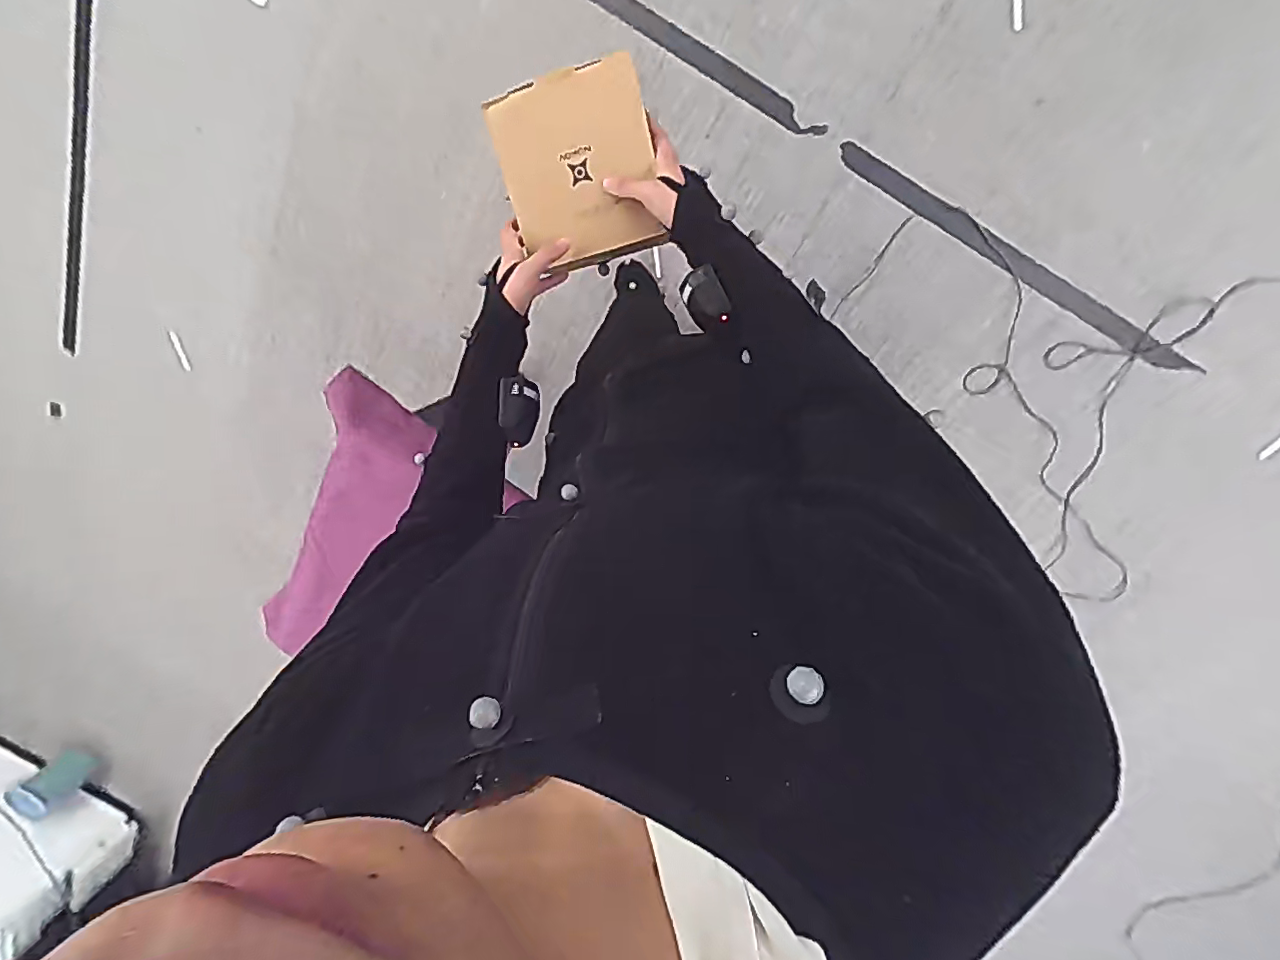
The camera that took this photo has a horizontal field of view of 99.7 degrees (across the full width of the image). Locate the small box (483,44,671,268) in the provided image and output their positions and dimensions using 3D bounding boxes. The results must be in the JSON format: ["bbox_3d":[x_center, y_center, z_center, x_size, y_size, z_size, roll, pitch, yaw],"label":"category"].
[{"bbox_3d":[-0.061,-0.364,0.647,0.168,0.176,0.179,-12,109,9],"label":"small box"}]
